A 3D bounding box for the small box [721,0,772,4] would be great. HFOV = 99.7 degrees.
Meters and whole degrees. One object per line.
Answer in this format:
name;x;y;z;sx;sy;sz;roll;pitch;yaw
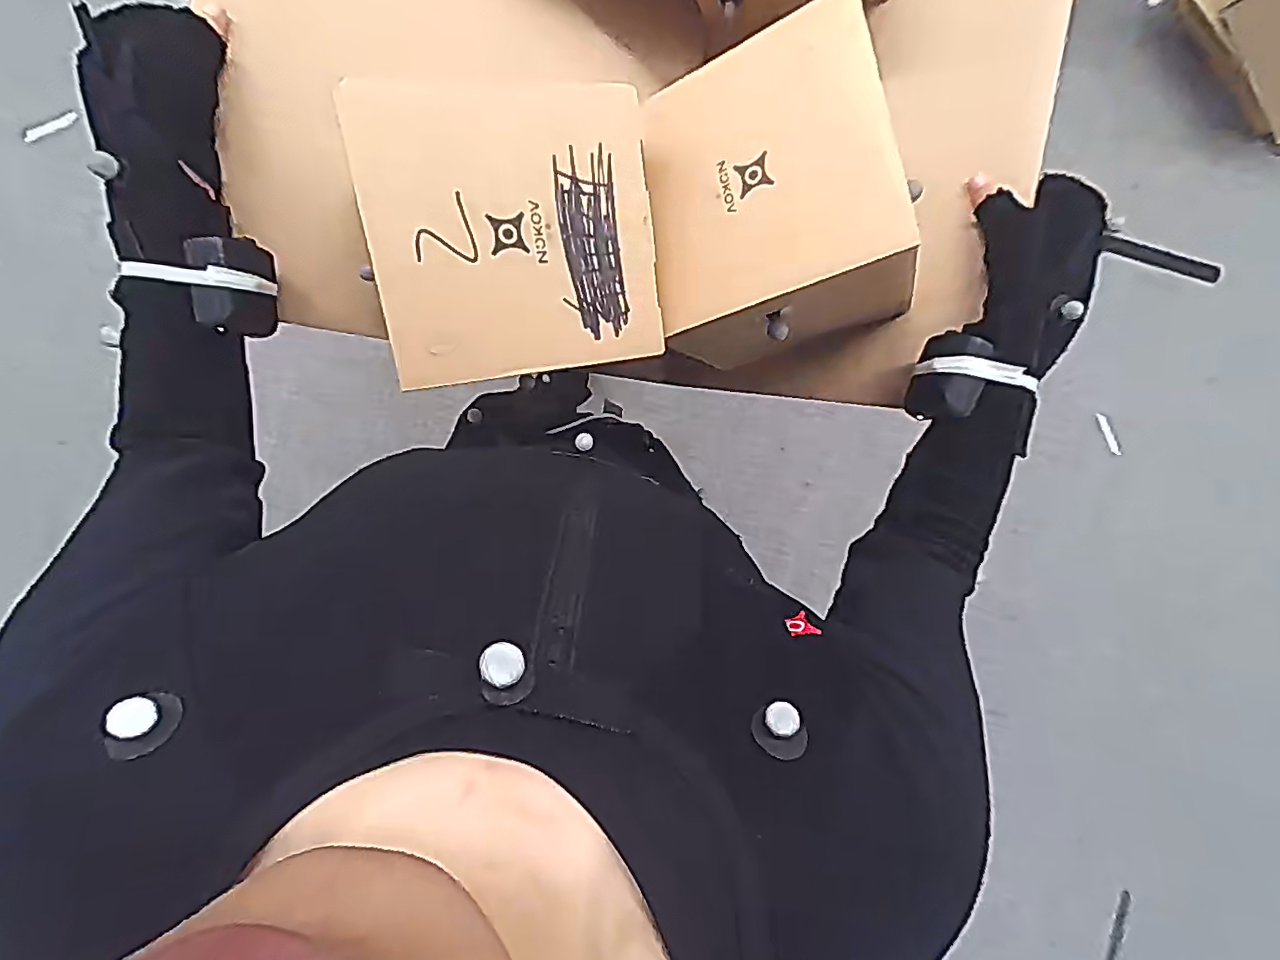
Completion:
small box;0.119;-0.511;0.409;0.168;0.176;0.179;12;96;24
